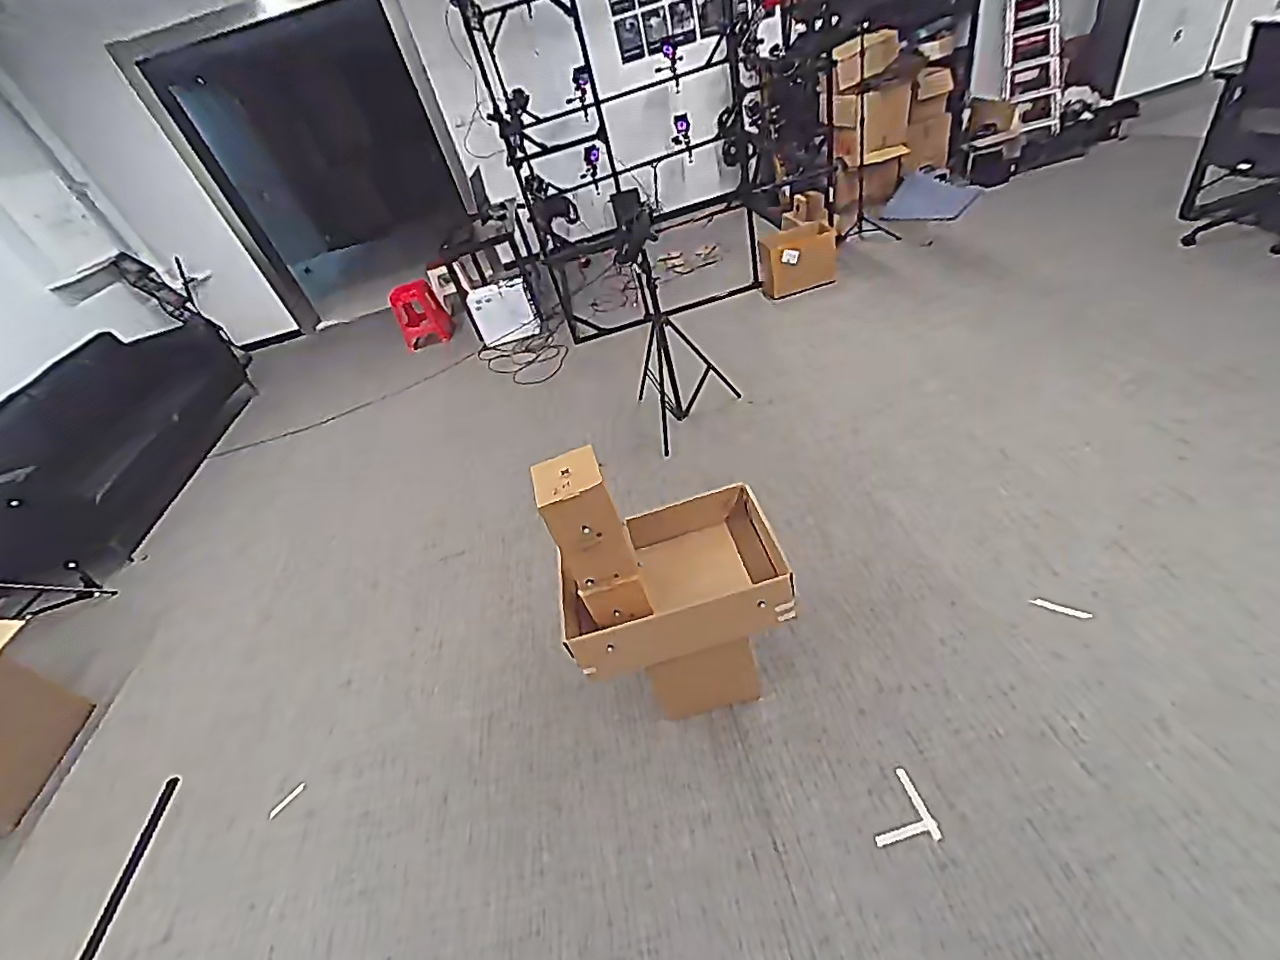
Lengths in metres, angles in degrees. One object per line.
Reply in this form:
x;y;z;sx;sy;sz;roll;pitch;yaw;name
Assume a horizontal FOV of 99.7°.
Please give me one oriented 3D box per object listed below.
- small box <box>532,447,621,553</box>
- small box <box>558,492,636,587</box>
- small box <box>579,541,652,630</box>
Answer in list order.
-0.160;0.051;1.360;0.168;0.176;0.179;-21;39;-1;small box
-0.119;0.168;1.467;0.168;0.176;0.179;-18;38;2;small box
-0.076;0.298;1.559;0.168;0.176;0.179;-19;39;1;small box
